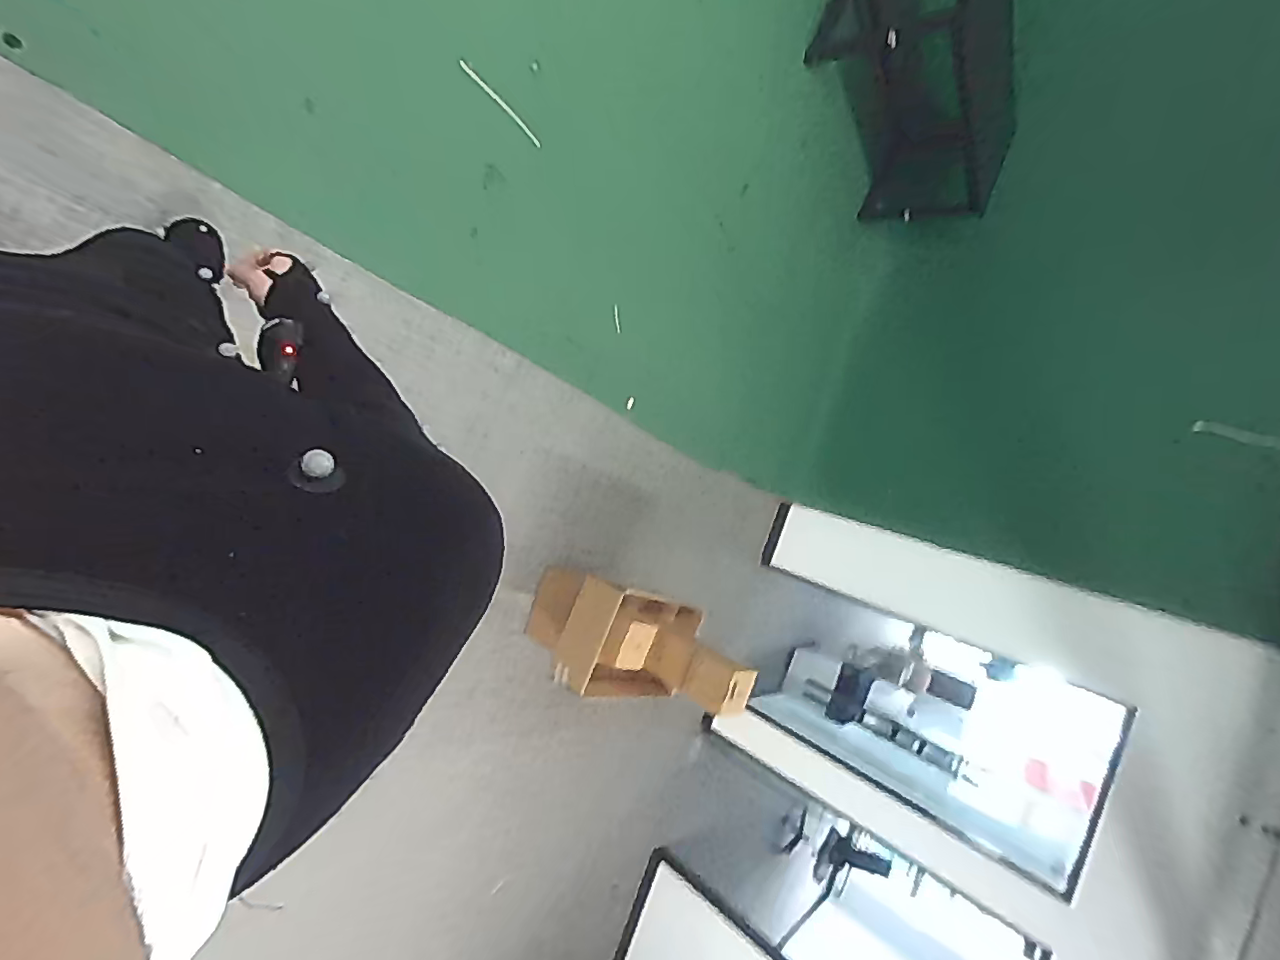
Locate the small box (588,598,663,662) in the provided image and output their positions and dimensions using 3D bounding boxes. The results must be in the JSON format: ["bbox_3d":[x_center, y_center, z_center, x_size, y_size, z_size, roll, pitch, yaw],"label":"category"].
[{"bbox_3d":[-0.054,0.542,1.960,0.179,0.176,0.168,29,82,-51],"label":"small box"}]

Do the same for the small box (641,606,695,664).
[{"bbox_3d":[0.084,0.617,2.159,0.179,0.176,0.168,26,86,-48],"label":"small box"}]

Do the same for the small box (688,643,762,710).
[{"bbox_3d":[0.299,0.695,1.923,0.179,0.176,0.168,23,88,-48],"label":"small box"}]
